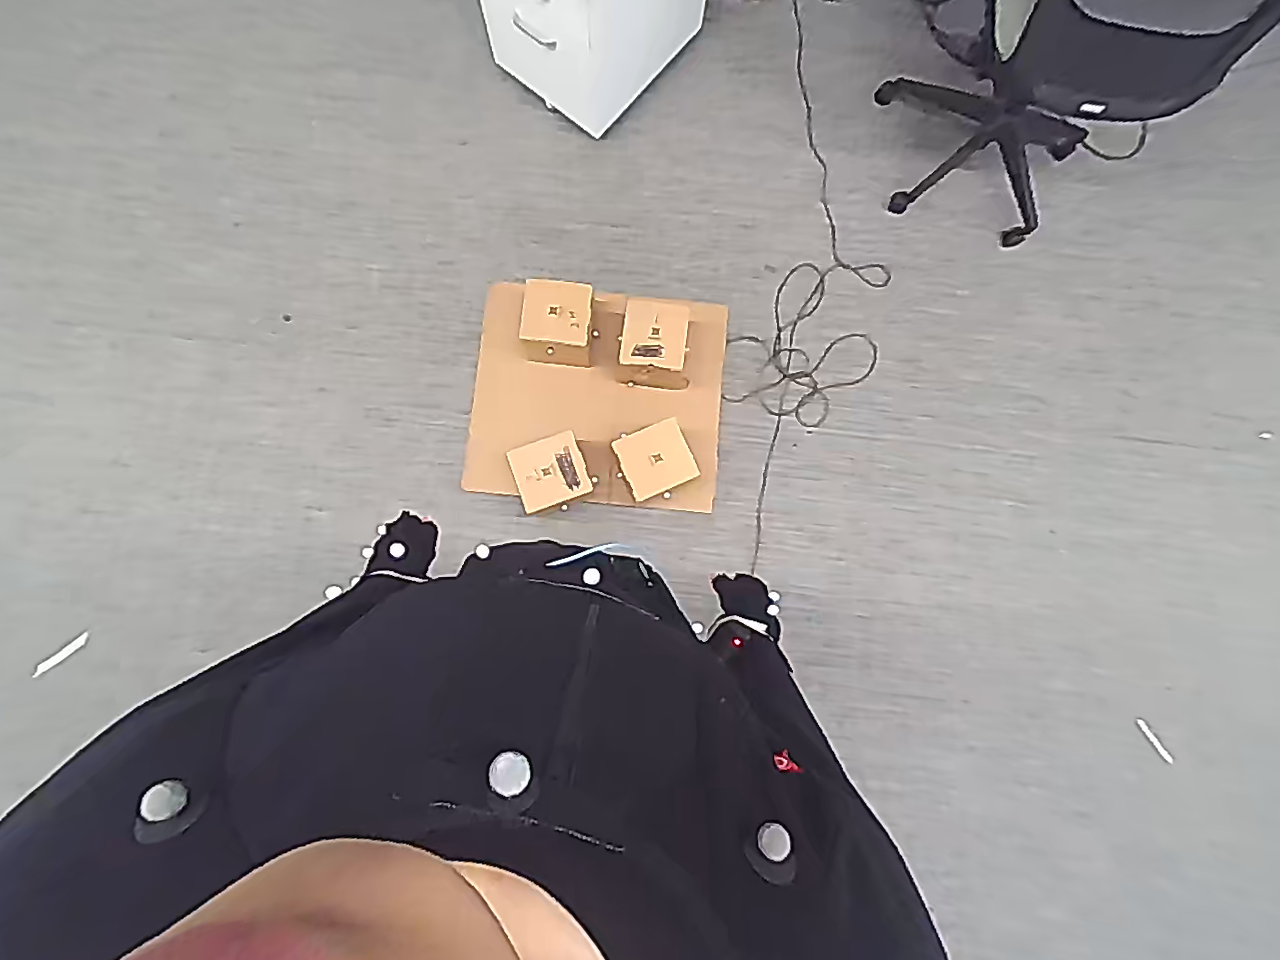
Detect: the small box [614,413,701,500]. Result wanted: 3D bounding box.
[{"bbox_3d":[0.042,-0.057,1.434,0.179,0.176,0.168,-24,84,-3],"label":"small box"}]
